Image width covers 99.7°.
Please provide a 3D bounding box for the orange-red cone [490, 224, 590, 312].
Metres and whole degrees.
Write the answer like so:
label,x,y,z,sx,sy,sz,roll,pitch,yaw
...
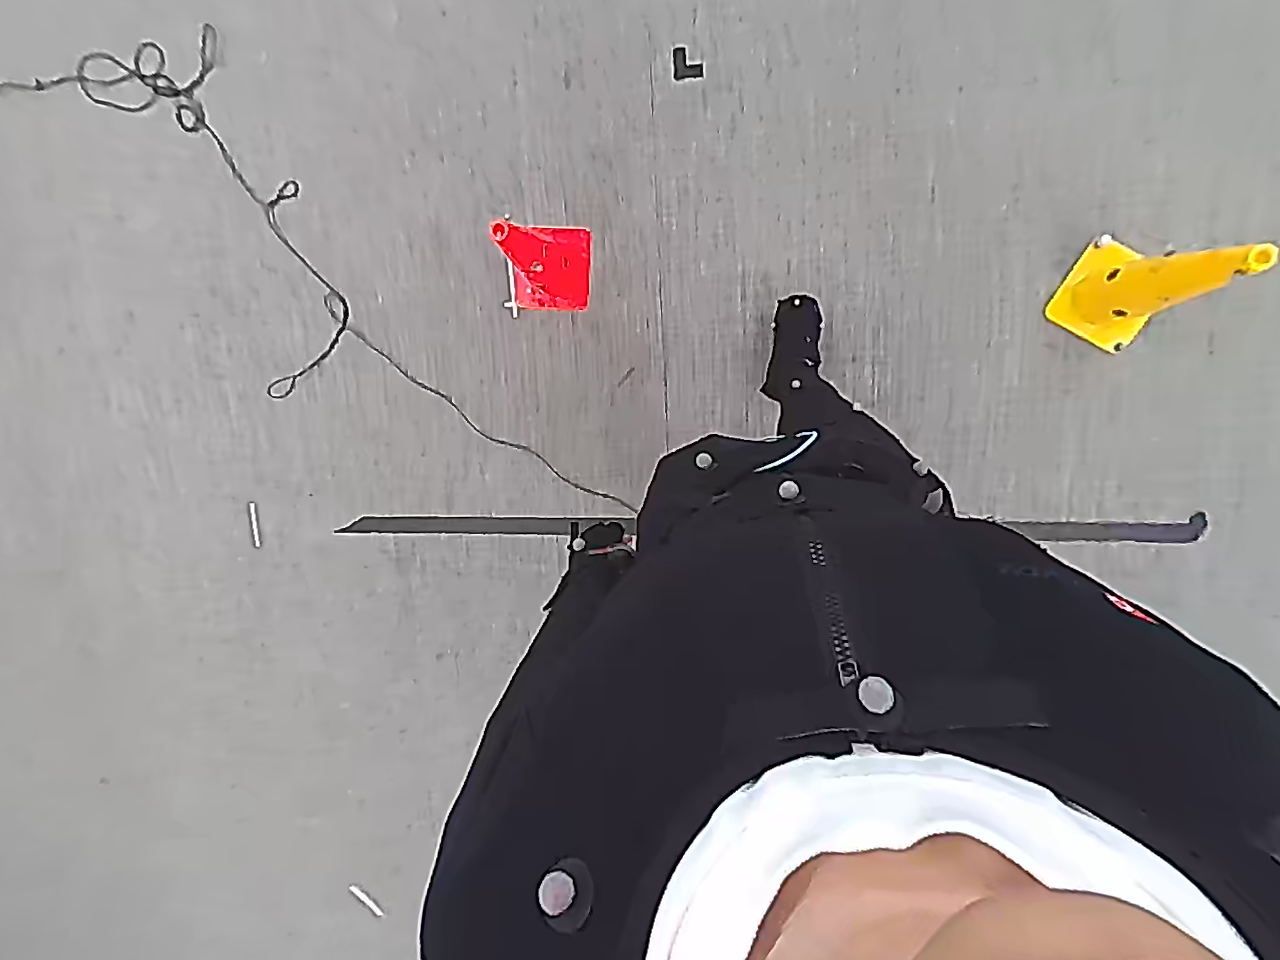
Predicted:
label,x,y,z,sx,sy,sz,roll,pitch,yaw
orange-red cone,-0.250,-0.508,1.215,0.199,0.360,0.198,6,101,6
